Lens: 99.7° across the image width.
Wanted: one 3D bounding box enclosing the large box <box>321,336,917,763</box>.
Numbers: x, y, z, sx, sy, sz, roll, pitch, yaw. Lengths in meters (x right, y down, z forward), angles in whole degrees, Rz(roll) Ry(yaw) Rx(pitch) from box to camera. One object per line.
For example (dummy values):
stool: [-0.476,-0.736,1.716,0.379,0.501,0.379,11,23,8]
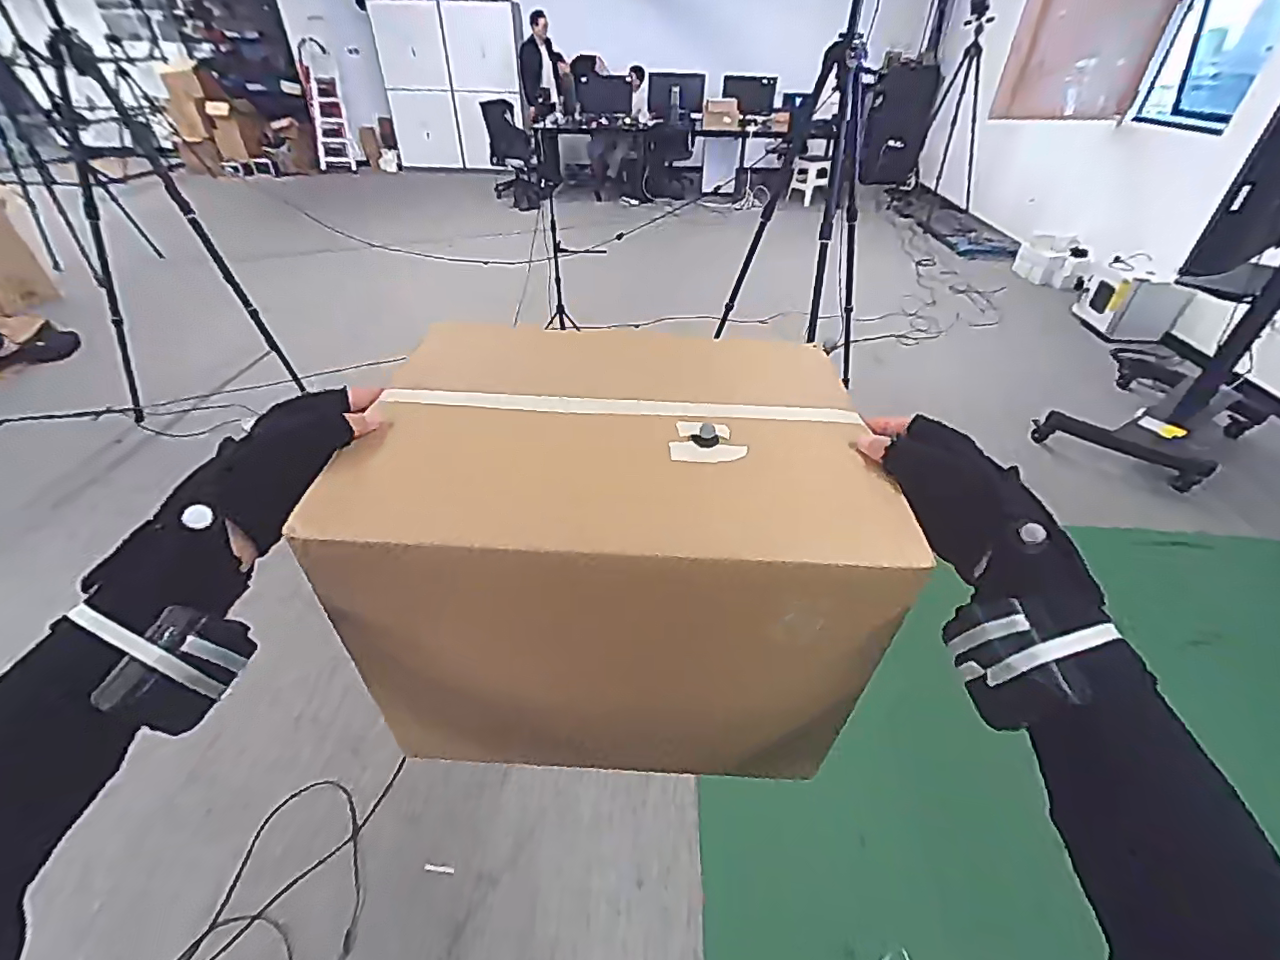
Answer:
large box: [-0.018,0.066,0.560,0.408,0.320,0.320,4,40,-1]
